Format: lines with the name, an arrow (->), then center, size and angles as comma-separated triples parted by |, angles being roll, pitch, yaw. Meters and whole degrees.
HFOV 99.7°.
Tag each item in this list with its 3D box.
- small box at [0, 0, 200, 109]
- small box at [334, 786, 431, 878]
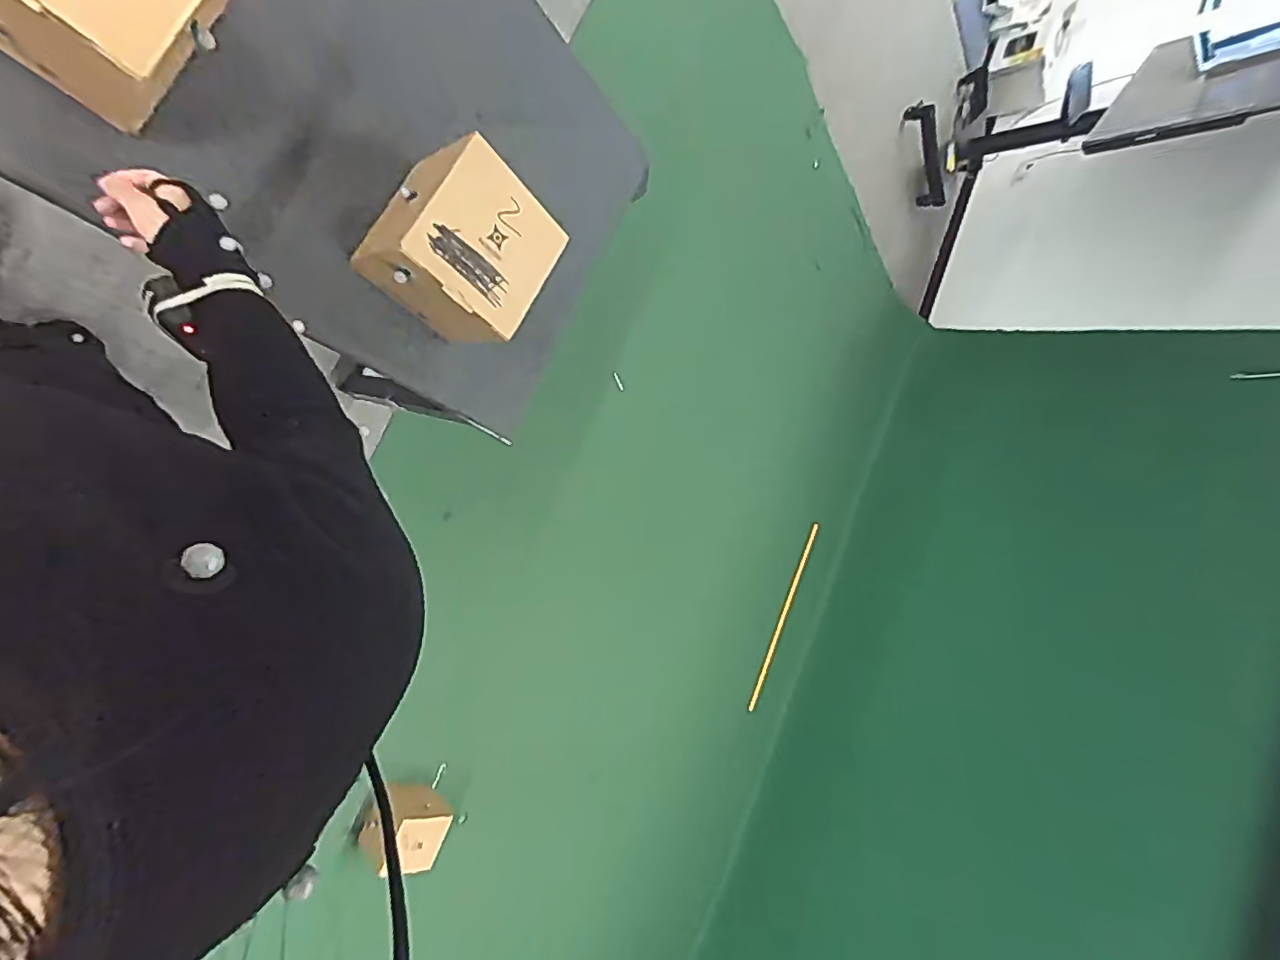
small box -> -0.465, -0.447, 0.431 | 0.168, 0.176, 0.179 | 36, 74, -48
small box -> -0.777, 1.049, 1.631 | 0.179, 0.176, 0.168 | 34, 75, -48
